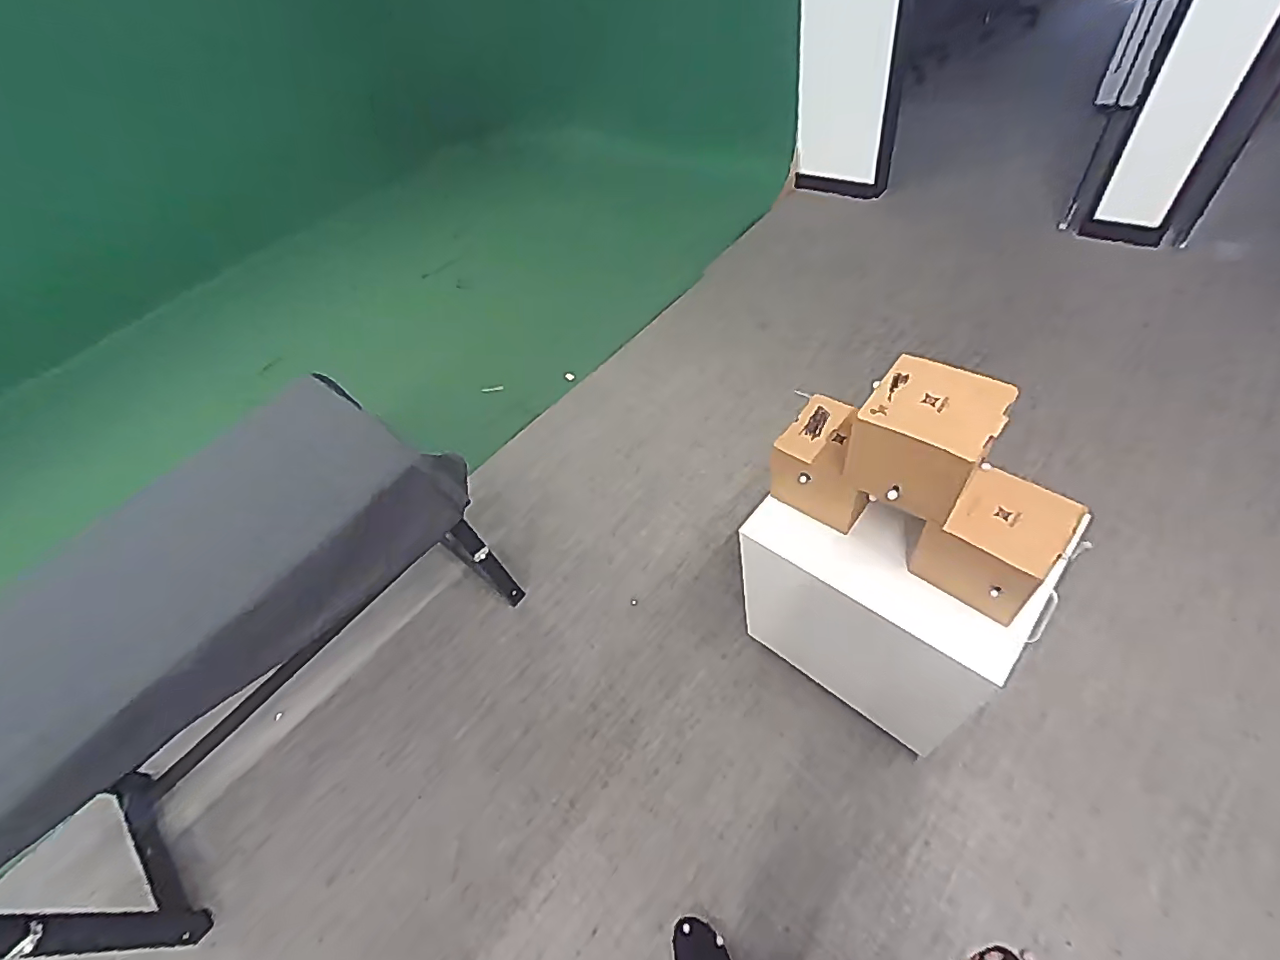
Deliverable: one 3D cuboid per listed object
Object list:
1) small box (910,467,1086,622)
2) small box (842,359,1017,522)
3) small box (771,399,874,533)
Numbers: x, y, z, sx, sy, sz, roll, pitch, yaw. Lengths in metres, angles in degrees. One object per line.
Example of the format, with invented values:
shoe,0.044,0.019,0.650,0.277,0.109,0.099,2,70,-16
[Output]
small box,0.588,0.113,0.909,0.179,0.176,0.168,32,64,34
small box,0.450,-0.057,0.865,0.179,0.176,0.168,30,64,29
small box,0.374,-0.024,1.066,0.179,0.176,0.168,30,65,29
